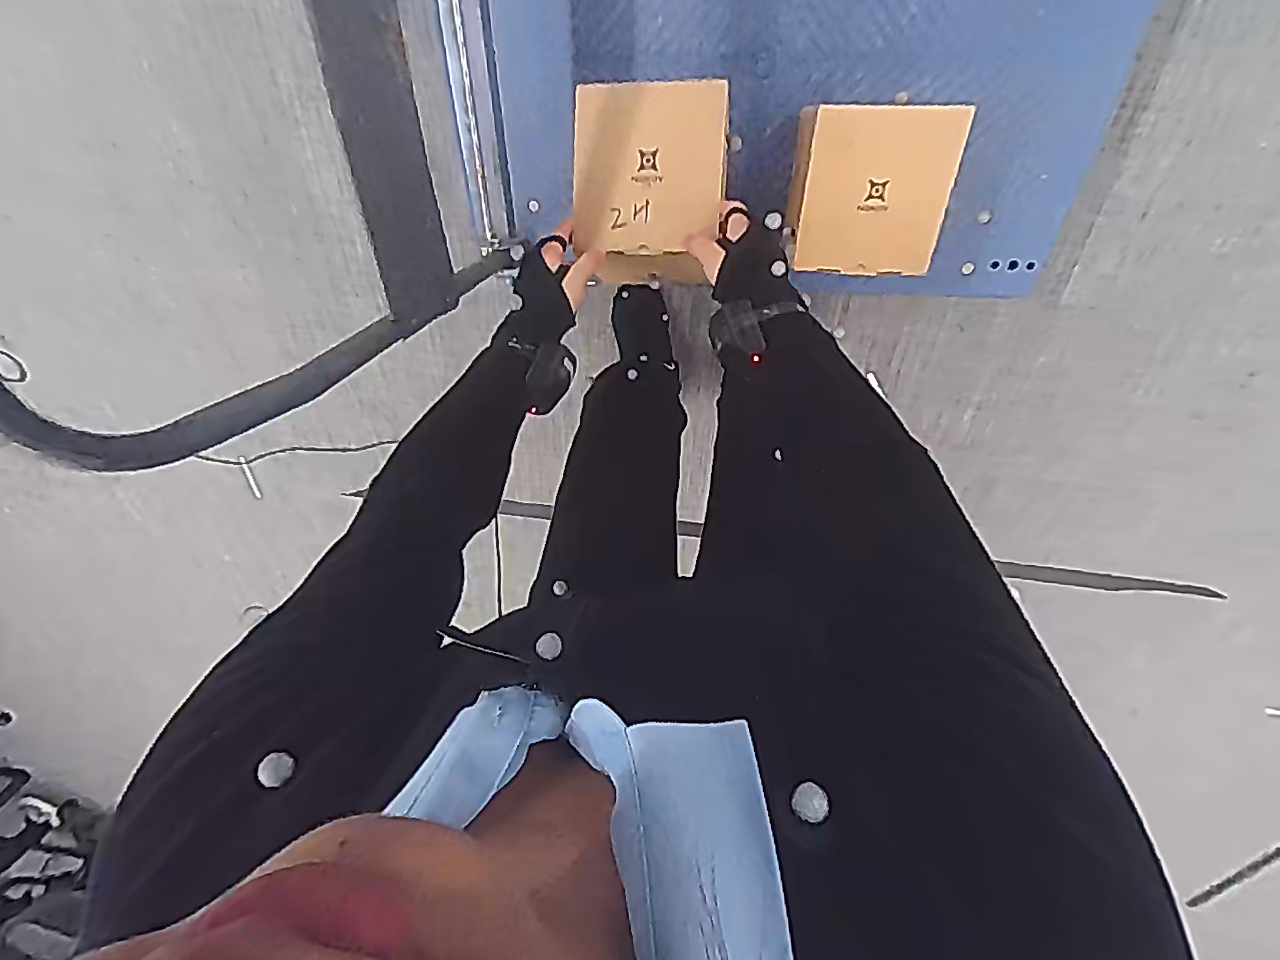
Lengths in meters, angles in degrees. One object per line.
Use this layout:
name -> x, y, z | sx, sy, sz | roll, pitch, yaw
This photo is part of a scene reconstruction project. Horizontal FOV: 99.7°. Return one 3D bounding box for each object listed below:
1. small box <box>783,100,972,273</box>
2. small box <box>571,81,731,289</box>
small box -> 0.283, -0.378, 0.693 | 0.168, 0.176, 0.179 | 5, 125, 6
small box -> 0.020, -0.342, 0.658 | 0.168, 0.176, 0.179 | 4, 99, 8
